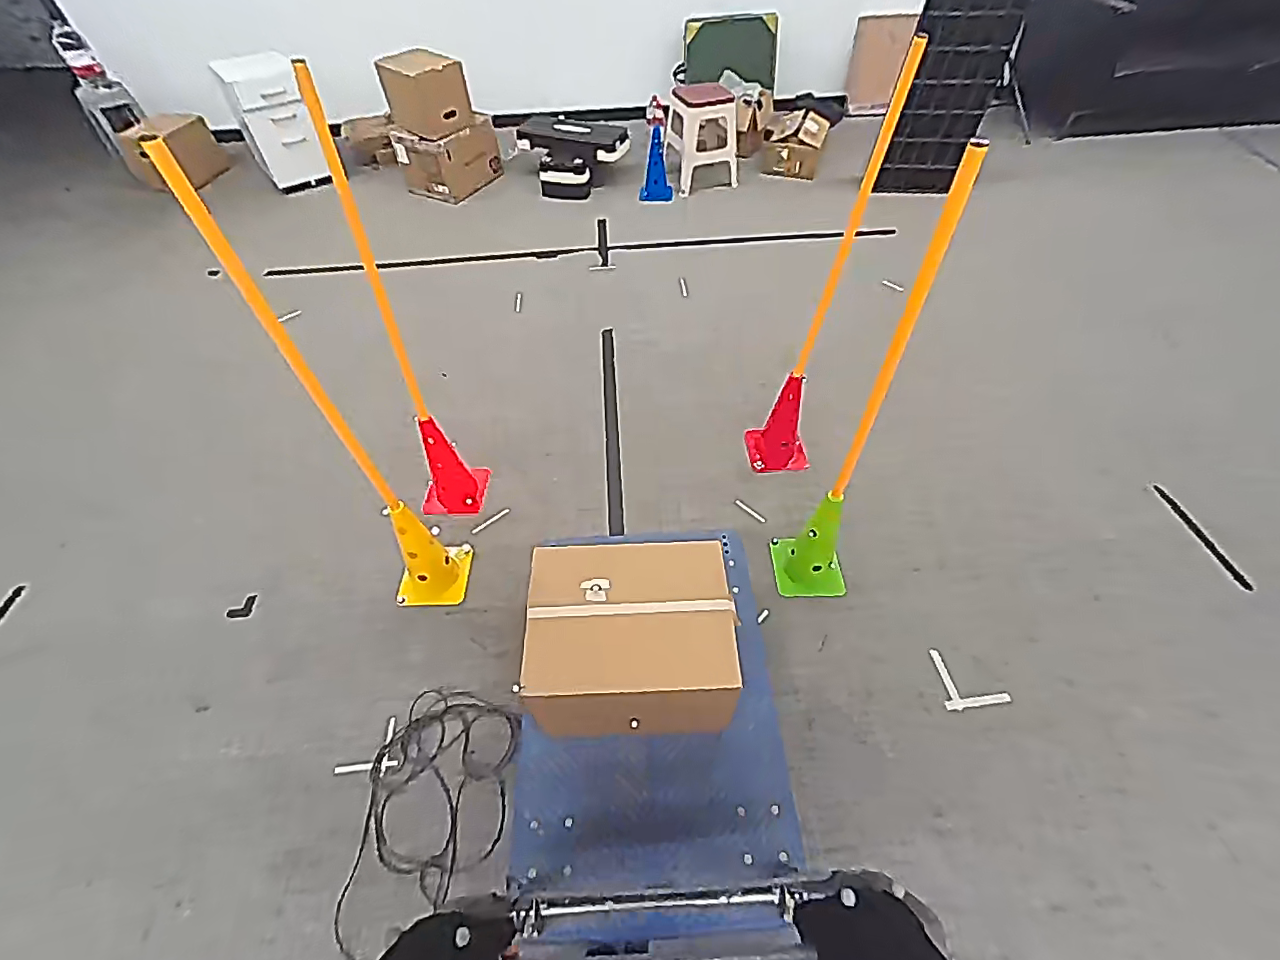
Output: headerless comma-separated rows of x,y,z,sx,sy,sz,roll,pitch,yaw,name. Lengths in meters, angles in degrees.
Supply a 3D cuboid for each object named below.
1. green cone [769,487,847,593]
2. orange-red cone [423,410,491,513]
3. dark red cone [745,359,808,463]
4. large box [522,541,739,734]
0.507,0.149,1.525,0.202,0.368,0.200,0,51,0,green cone
-0.629,-0.083,1.739,0.198,0.360,0.199,3,50,2,orange-red cone
0.492,-0.238,1.817,0.201,0.394,0.202,-3,51,-3,dark red cone
-0.017,0.352,1.186,0.408,0.320,0.320,-2,51,0,large box
